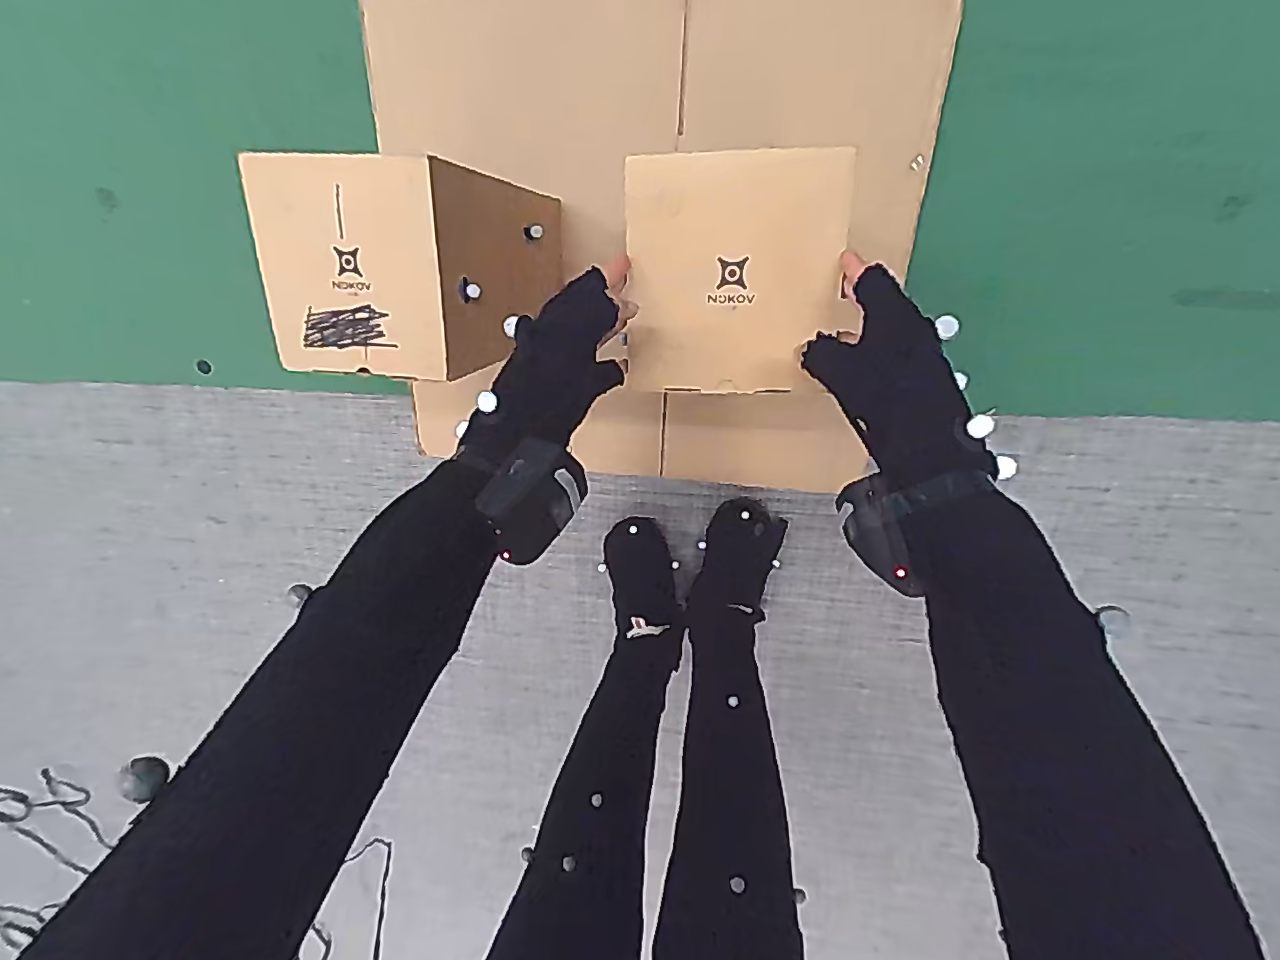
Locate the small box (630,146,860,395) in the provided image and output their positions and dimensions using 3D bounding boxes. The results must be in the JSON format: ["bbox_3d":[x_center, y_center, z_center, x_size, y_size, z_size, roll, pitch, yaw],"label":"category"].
[{"bbox_3d":[0.084,-0.181,0.487,0.168,0.176,0.179,2,112,8],"label":"small box"}]

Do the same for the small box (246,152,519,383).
[{"bbox_3d":[-0.225,-0.202,0.525,0.168,0.176,0.179,6,112,8],"label":"small box"}]

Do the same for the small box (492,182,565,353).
[{"bbox_3d":[-0.197,-0.263,0.676,0.168,0.176,0.179,5,113,9],"label":"small box"}]
